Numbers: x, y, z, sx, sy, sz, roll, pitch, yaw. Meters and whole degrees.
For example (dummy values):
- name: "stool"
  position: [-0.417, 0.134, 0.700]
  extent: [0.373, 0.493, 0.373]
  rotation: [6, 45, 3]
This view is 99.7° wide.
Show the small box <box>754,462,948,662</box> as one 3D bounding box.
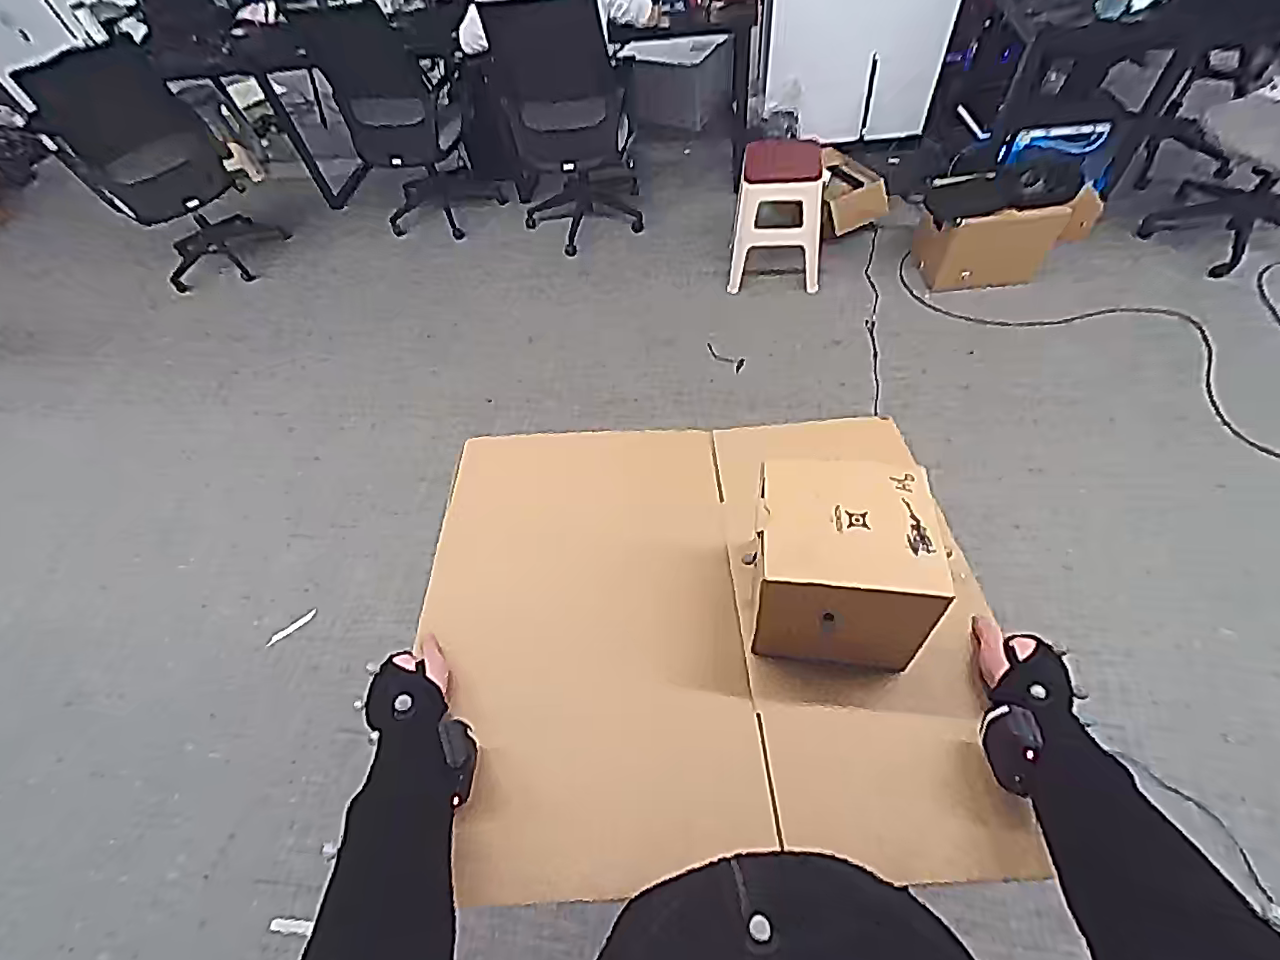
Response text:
- name: "small box"
  position: [0.225, 0.096, 0.627]
  extent: [0.179, 0.176, 0.168]
  rotation: [2, 50, 10]
